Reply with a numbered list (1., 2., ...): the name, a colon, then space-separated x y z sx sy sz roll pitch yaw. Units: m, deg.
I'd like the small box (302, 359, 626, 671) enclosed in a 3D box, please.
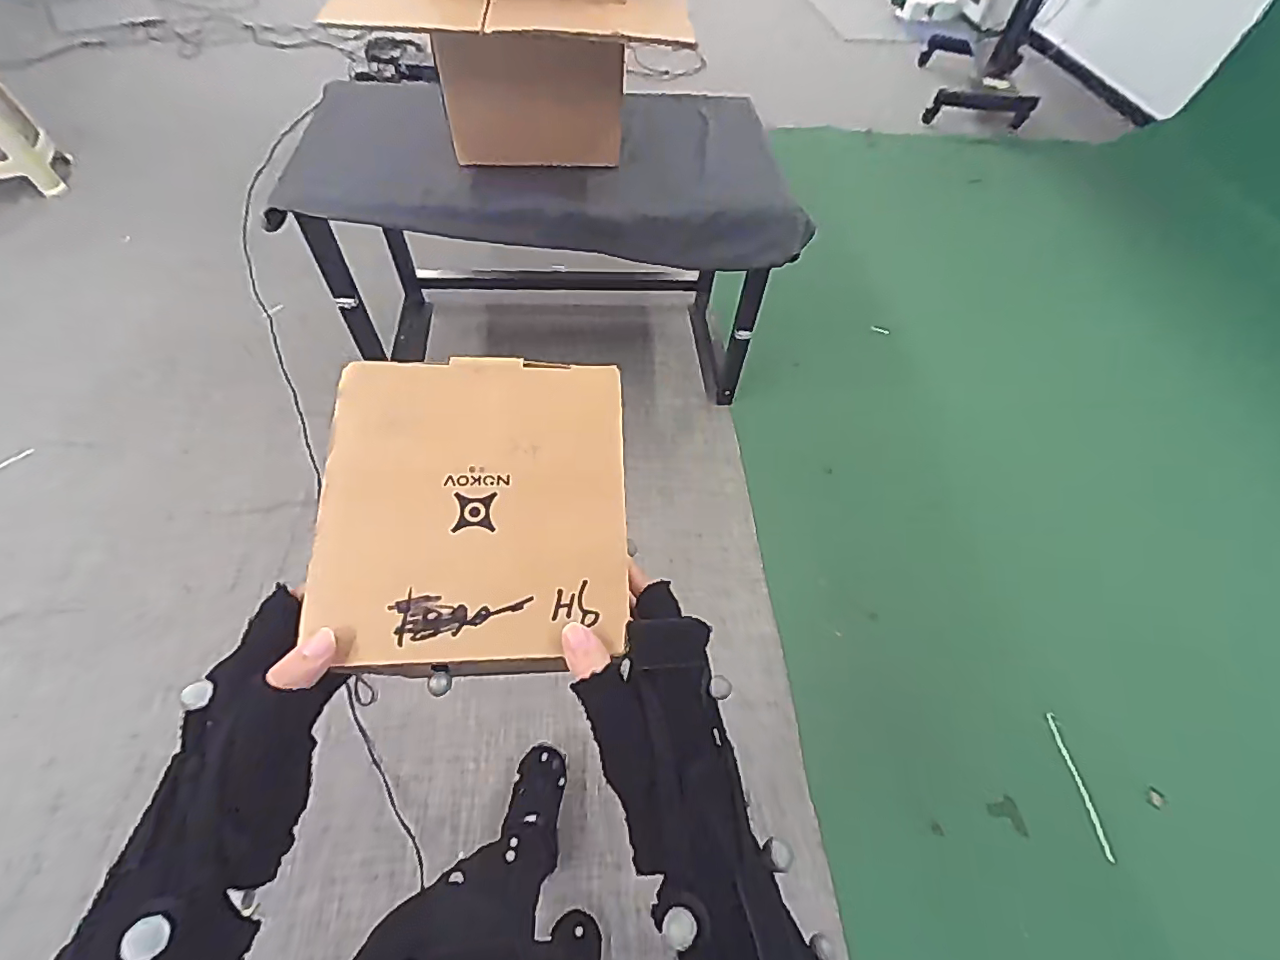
1. small box: -0.099 0.035 0.382 0.168 0.176 0.179 -1 68 -5
